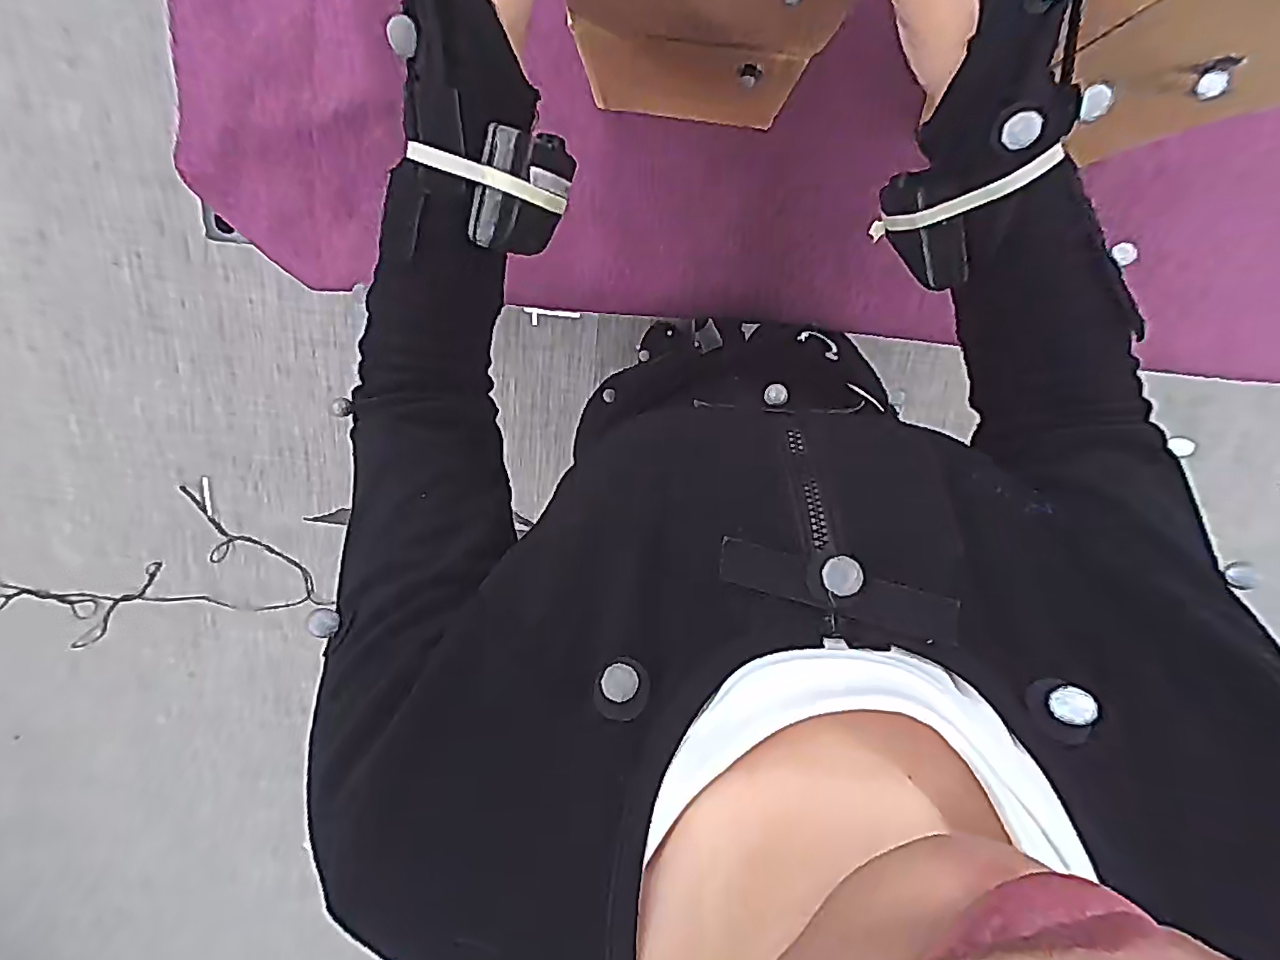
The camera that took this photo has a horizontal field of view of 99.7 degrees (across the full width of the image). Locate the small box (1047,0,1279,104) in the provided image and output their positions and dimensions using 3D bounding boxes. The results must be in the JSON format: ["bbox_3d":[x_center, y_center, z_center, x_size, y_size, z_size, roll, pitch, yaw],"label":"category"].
[{"bbox_3d":[0.360,-0.329,0.273,0.168,0.176,0.179,8,108,0],"label":"small box"}]

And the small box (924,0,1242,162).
[{"bbox_3d":[0.360,-0.381,0.430,0.168,0.176,0.179,8,108,0],"label":"small box"}]

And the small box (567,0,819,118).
[{"bbox_3d":[0.047,-0.414,0.431,0.179,0.176,0.168,7,108,-1],"label":"small box"}]
